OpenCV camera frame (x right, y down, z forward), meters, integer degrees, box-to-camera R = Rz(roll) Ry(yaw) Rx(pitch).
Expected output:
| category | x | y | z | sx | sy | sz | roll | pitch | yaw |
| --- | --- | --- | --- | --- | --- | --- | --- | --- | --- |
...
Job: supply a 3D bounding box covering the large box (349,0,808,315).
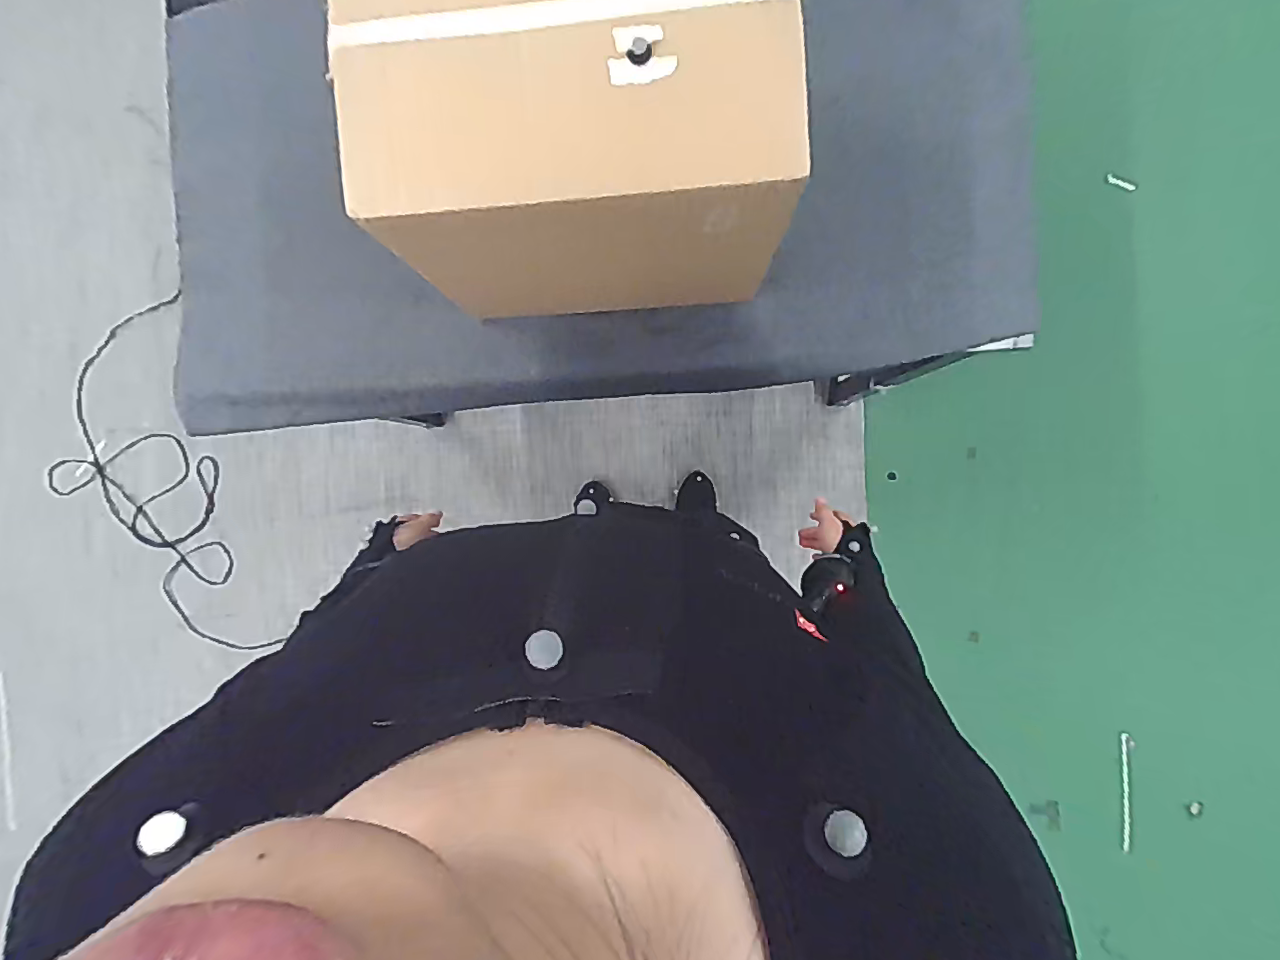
| category | x | y | z | sx | sy | sz | roll | pitch | yaw |
| --- | --- | --- | --- | --- | --- | --- | --- | --- | --- |
| large box | -0.058 | -0.405 | 0.627 | 0.408 | 0.320 | 0.320 | -4 | 91 | 2 |
